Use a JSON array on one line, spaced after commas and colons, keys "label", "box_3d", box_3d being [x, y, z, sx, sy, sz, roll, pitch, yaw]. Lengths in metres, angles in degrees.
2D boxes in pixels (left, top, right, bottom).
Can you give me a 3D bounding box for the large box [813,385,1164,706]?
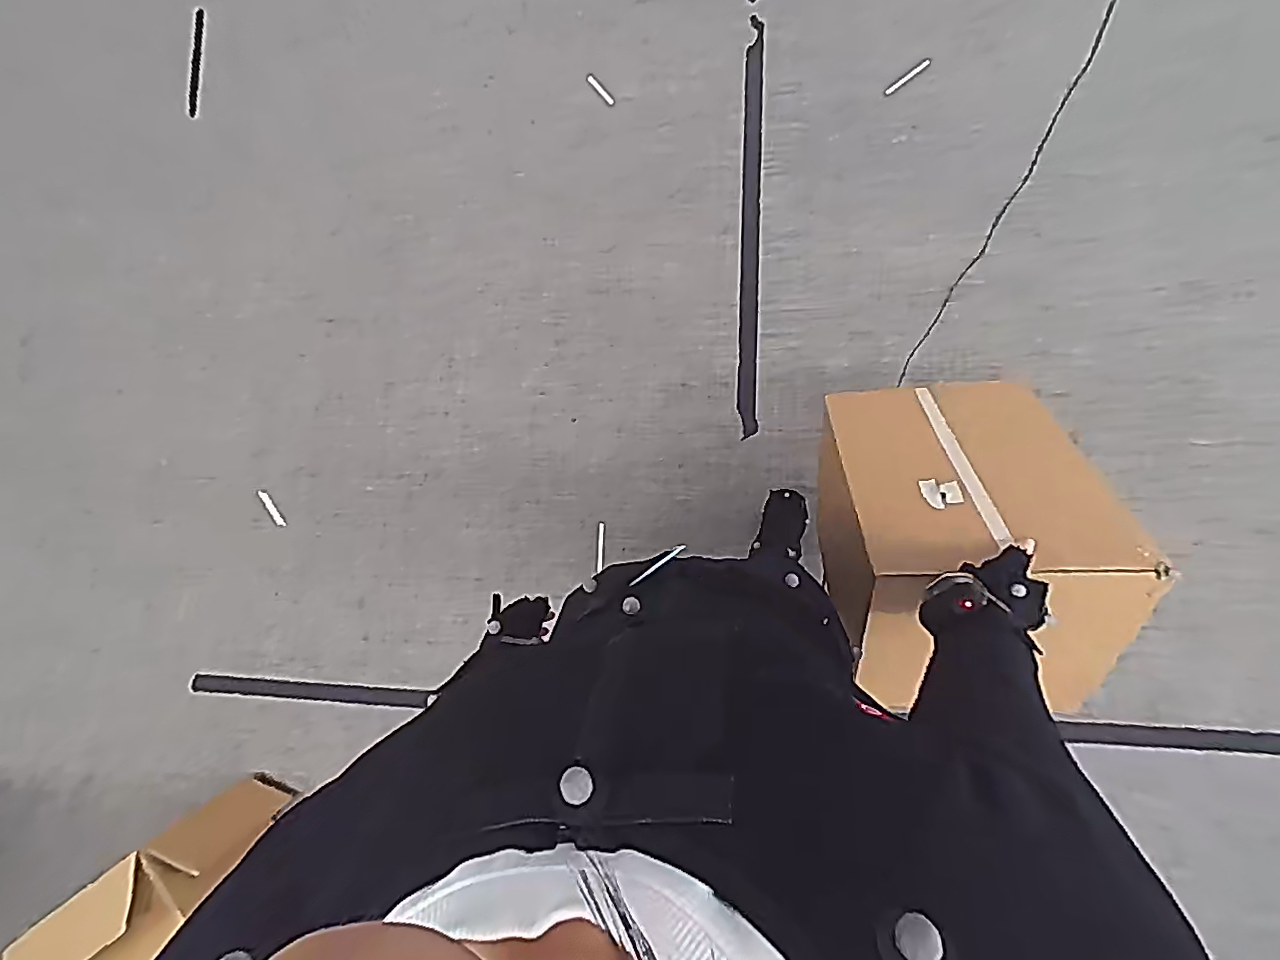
[{"label": "large box", "box_3d": [0.468, 0.093, 0.861, 0.320, 0.320, 0.408, -4, 41, 11]}]
